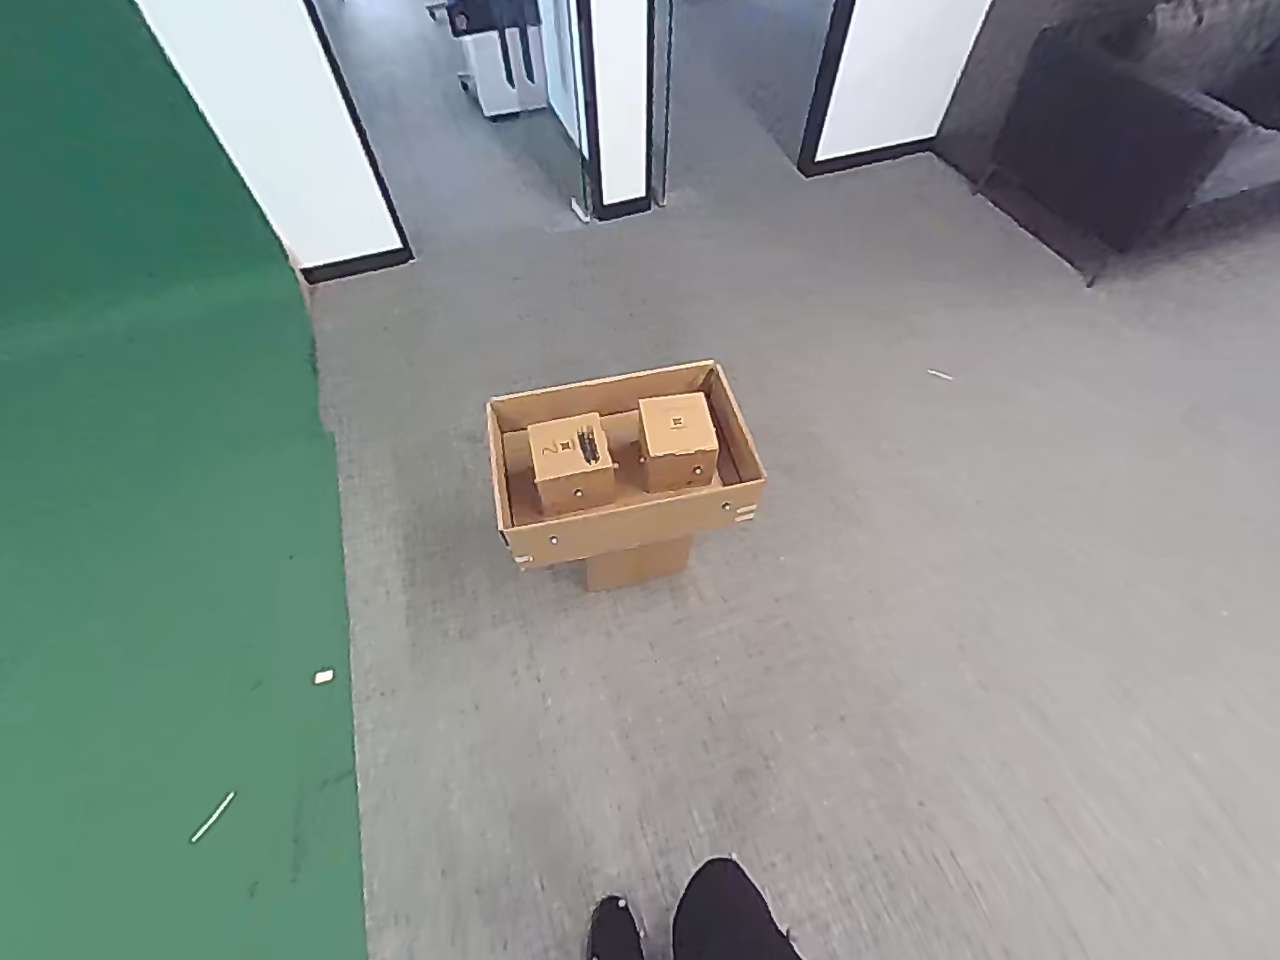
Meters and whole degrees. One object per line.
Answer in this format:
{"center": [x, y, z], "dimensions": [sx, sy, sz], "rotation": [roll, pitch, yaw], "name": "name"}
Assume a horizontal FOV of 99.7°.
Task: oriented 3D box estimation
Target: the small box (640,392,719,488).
{"center": [0.095, -0.093, 1.356], "dimensions": [0.168, 0.176, 0.179], "rotation": [-8, 58, -4], "name": "small box"}
